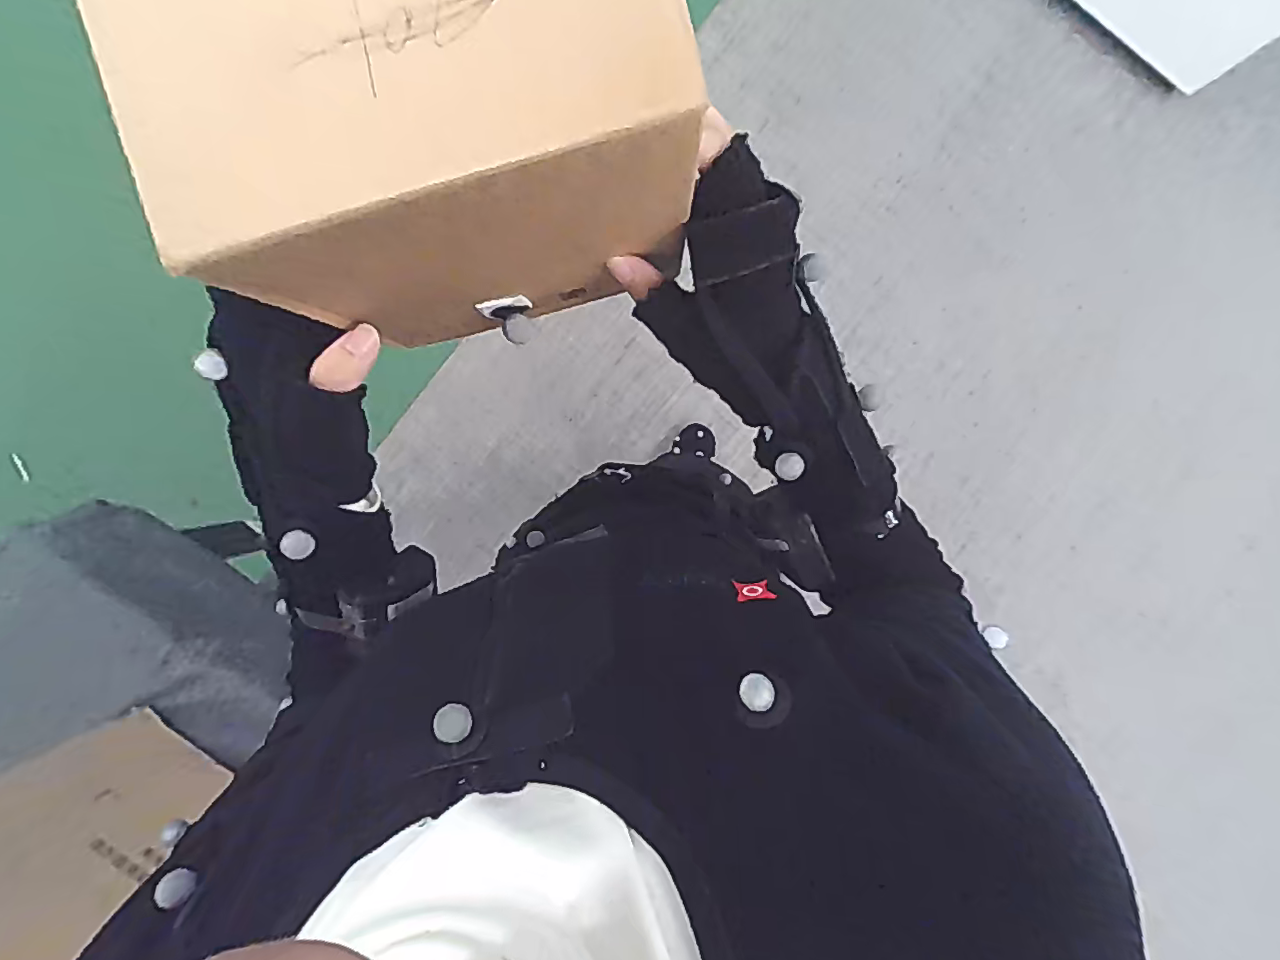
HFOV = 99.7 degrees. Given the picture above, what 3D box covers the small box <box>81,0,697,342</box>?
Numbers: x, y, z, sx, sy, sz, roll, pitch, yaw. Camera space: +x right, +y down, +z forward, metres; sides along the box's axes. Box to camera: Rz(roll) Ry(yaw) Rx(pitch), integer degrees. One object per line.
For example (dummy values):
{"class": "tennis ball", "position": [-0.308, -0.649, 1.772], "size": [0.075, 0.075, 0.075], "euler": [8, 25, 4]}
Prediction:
{"class": "small box", "position": [-0.080, -0.175, 0.230], "size": [0.168, 0.176, 0.179], "euler": [-15, 95, 4]}
